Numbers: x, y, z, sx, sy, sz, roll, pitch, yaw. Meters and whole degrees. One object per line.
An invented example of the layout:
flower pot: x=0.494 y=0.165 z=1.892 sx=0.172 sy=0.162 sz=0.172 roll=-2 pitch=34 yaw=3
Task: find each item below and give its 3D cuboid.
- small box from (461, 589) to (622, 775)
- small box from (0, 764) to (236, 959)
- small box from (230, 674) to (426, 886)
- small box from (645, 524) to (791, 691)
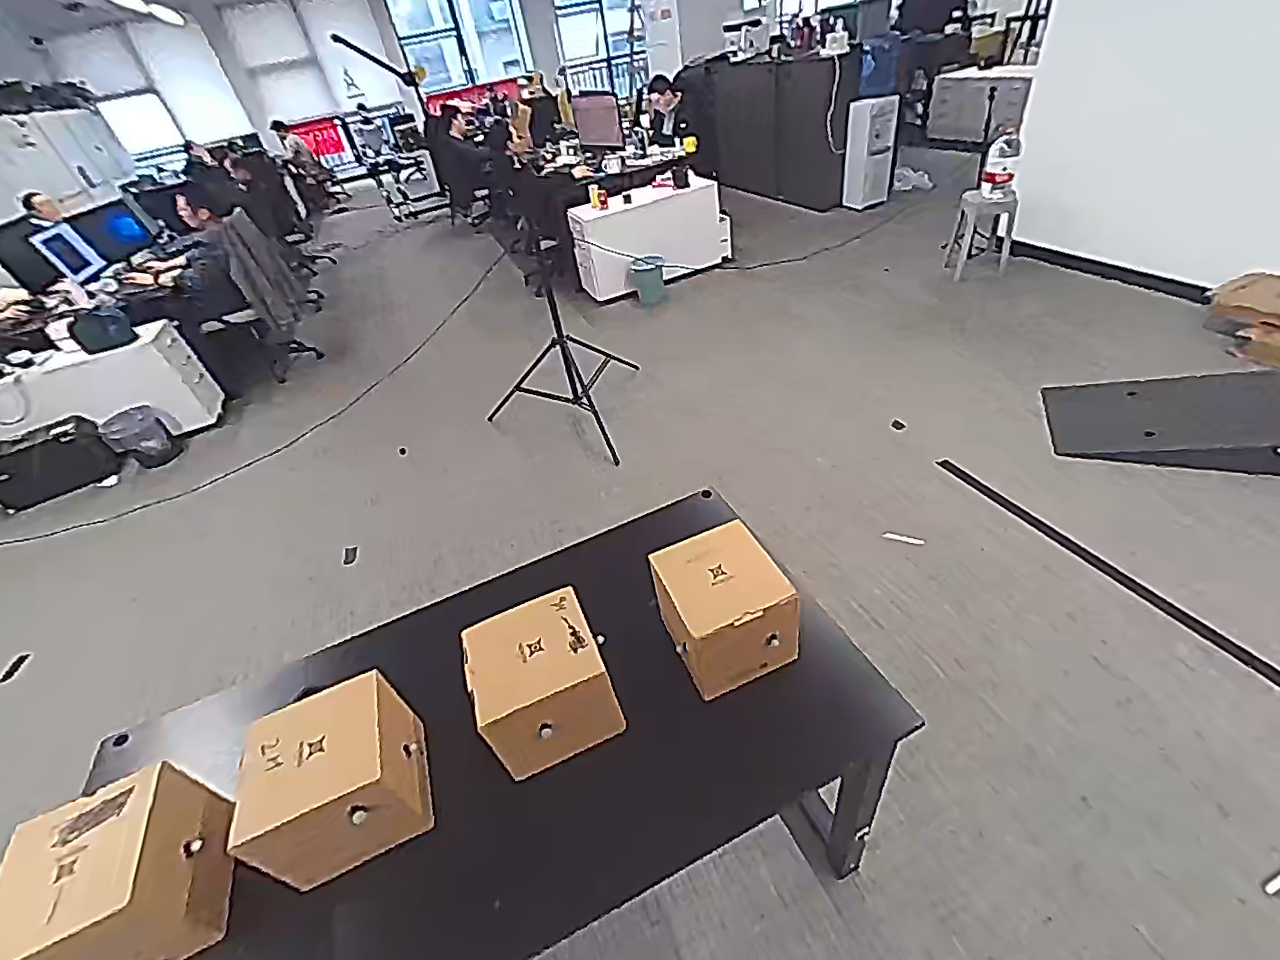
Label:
small box: x=-0.146 y=0.303 z=0.810 sx=0.179 sy=0.176 sz=0.168 roll=-22 pitch=41 yaw=-11
small box: x=-0.651 y=0.510 z=0.685 sx=0.168 sy=0.176 sz=0.179 roll=-23 pitch=42 yaw=-14
small box: x=-0.410 y=0.410 z=0.745 sx=0.179 sy=0.176 sz=0.168 roll=-22 pitch=40 yaw=-13
small box: x=0.124 y=0.206 z=0.859 sx=0.168 sy=0.176 sz=0.179 roll=-20 pitch=39 yaw=-11
